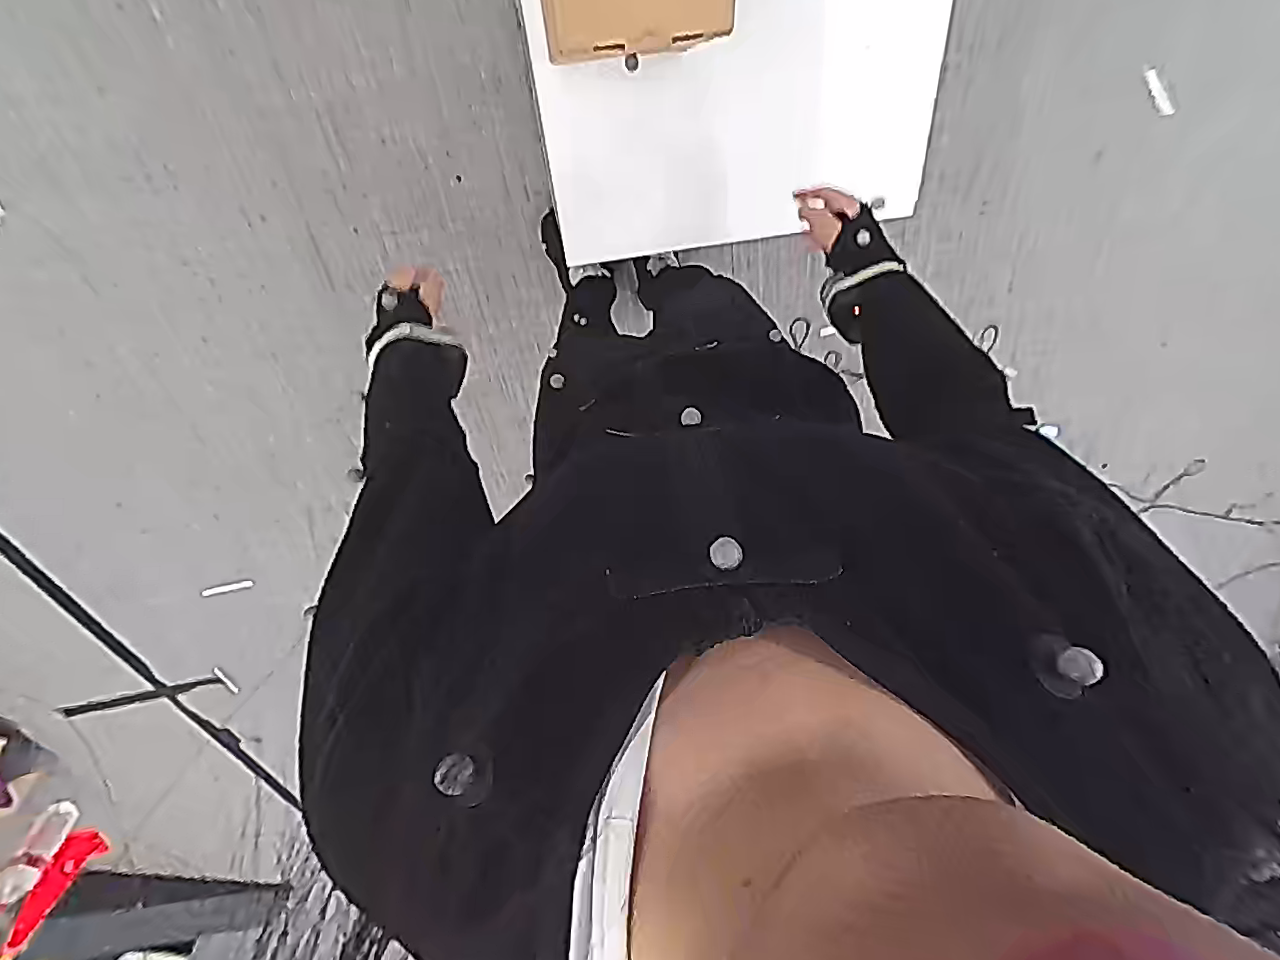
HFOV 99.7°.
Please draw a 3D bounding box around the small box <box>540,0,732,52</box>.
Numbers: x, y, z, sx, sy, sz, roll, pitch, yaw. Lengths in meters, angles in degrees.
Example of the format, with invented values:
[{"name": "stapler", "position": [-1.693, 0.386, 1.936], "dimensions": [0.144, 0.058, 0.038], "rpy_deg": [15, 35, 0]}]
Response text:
[{"name": "small box", "position": [-0.016, -0.520, 0.508], "dimensions": [0.168, 0.176, 0.179], "rpy_deg": [-12, 127, -6]}]
